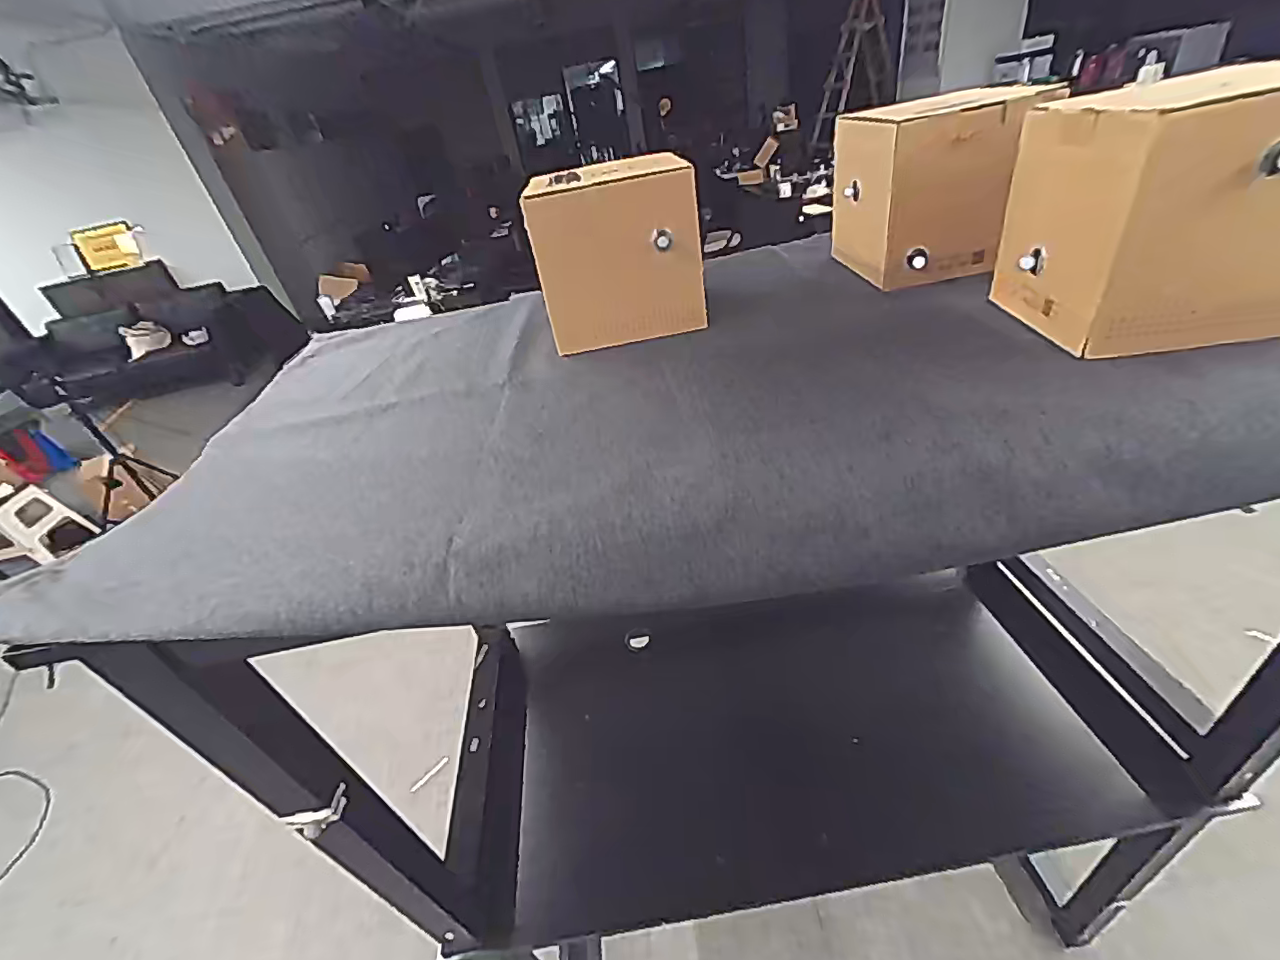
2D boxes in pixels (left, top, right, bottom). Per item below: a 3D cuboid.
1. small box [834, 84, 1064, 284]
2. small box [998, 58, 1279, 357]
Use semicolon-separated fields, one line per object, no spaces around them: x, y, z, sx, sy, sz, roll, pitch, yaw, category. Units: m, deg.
0.338;-0.341;0.633;0.168;0.176;0.179;-10;34;3;small box
0.421;-0.212;0.425;0.179;0.176;0.168;-6;33;10;small box
